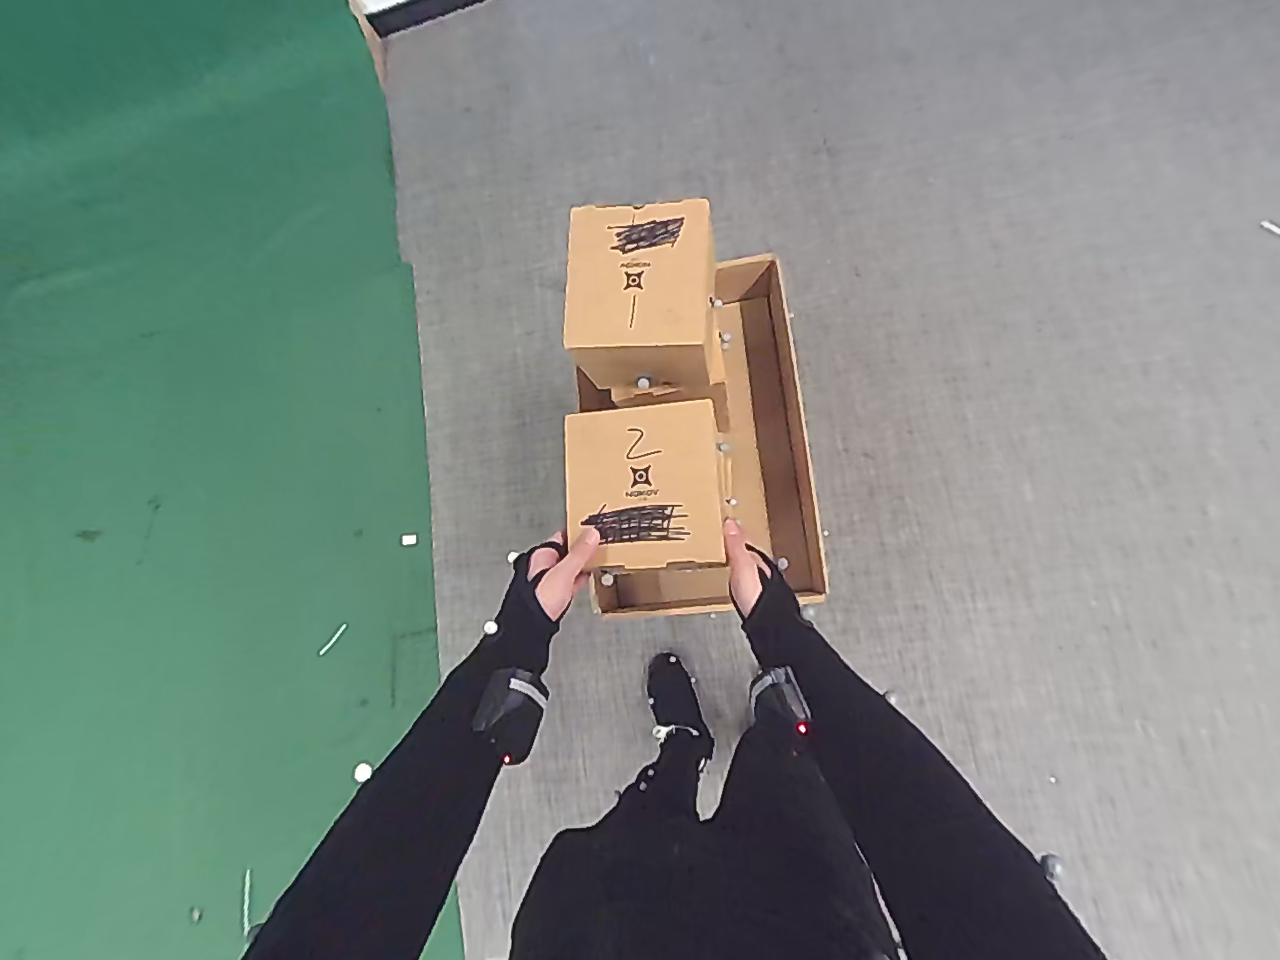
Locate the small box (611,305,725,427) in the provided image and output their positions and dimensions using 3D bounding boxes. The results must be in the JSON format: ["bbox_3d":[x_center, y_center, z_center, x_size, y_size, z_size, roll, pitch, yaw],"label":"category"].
[{"bbox_3d":[0.042,-0.197,0.863,0.168,0.176,0.179,-9,81,9],"label":"small box"}]

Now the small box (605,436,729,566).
[{"bbox_3d":[0.047,0.041,0.816,0.168,0.176,0.179,-2,78,10],"label":"small box"}]

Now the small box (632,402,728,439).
[{"bbox_3d":[0.073,-0.175,1.020,0.168,0.176,0.179,-8,80,10],"label":"small box"}]

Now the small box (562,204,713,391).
[{"bbox_3d":[0.007,-0.225,0.705,0.168,0.176,0.179,1,83,11],"label":"small box"}]
